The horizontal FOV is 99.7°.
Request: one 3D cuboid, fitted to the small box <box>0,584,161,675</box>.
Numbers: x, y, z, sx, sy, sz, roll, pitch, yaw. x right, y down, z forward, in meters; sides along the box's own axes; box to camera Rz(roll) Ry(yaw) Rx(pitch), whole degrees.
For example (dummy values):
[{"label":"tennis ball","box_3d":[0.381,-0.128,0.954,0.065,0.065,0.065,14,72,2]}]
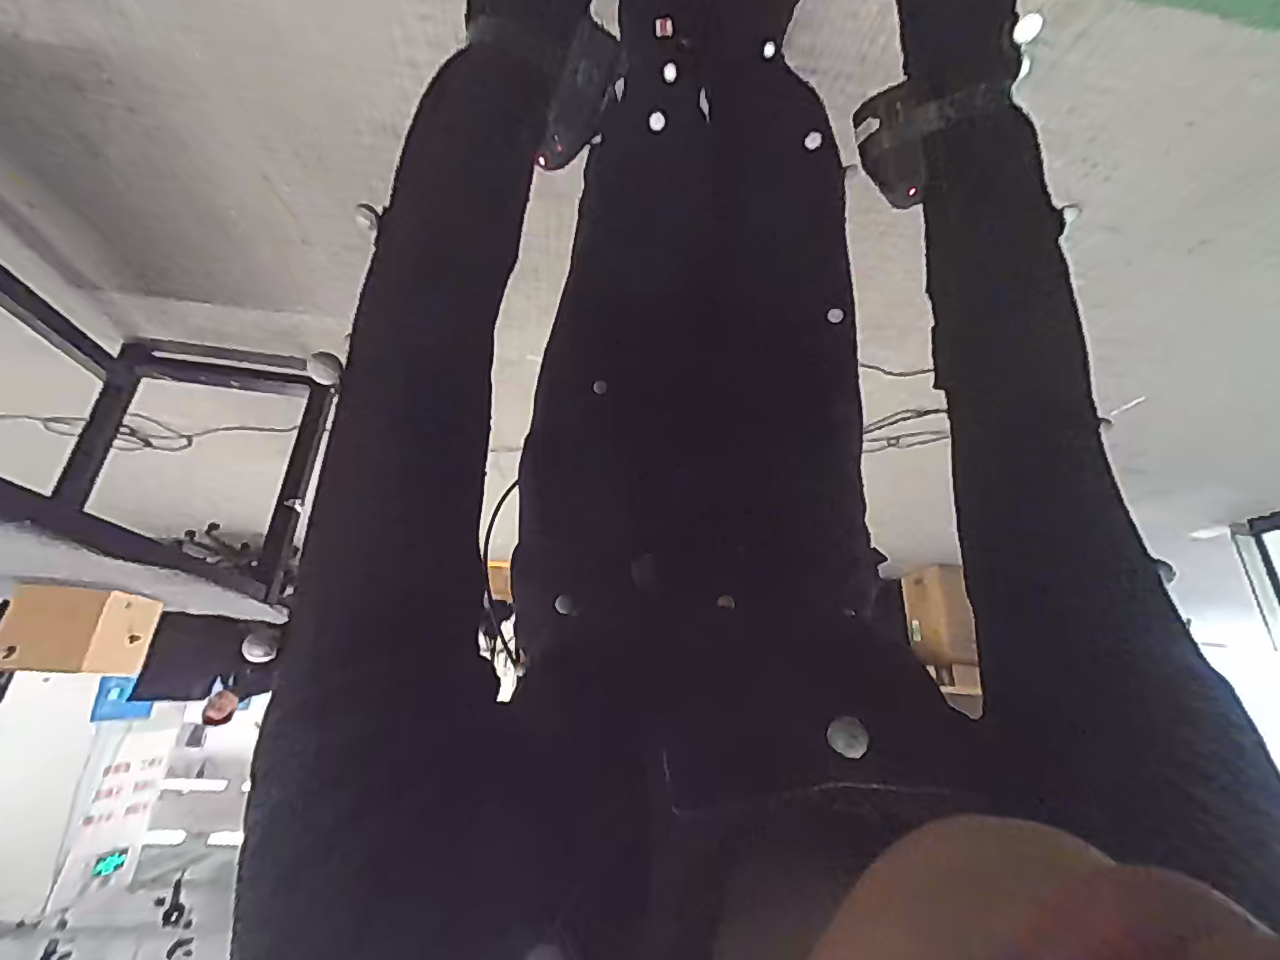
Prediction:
[{"label":"small box","box_3d":[-1.169,0.318,1.141,0.179,0.176,0.168,6,158,-6]}]
